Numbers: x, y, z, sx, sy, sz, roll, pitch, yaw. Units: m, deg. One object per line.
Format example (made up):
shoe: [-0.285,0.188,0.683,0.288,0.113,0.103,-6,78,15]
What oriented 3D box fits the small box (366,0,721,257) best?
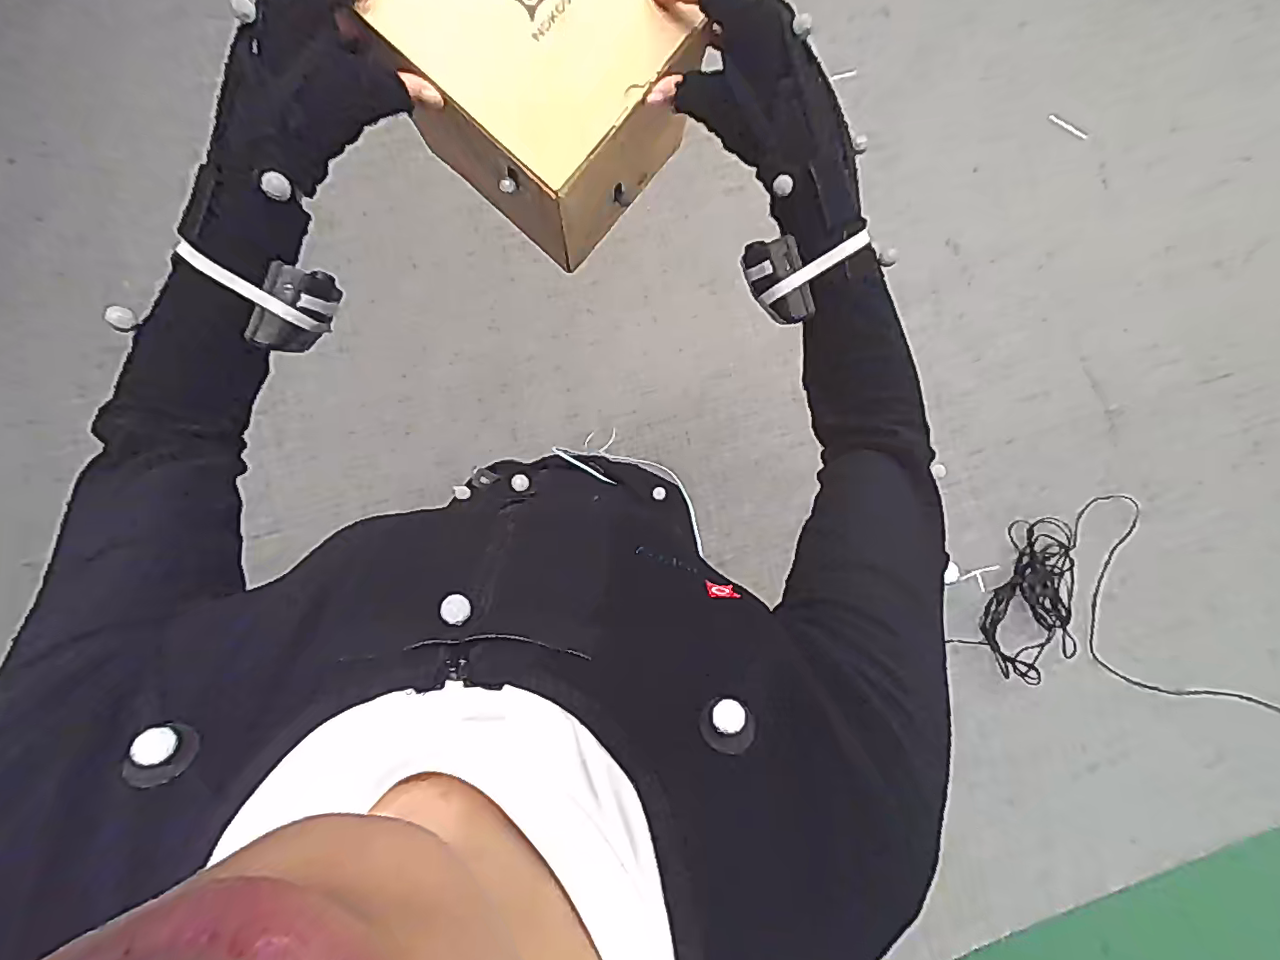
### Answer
small box: [-0.069,-0.316,0.434,0.179,0.176,0.168,40,90,-7]
